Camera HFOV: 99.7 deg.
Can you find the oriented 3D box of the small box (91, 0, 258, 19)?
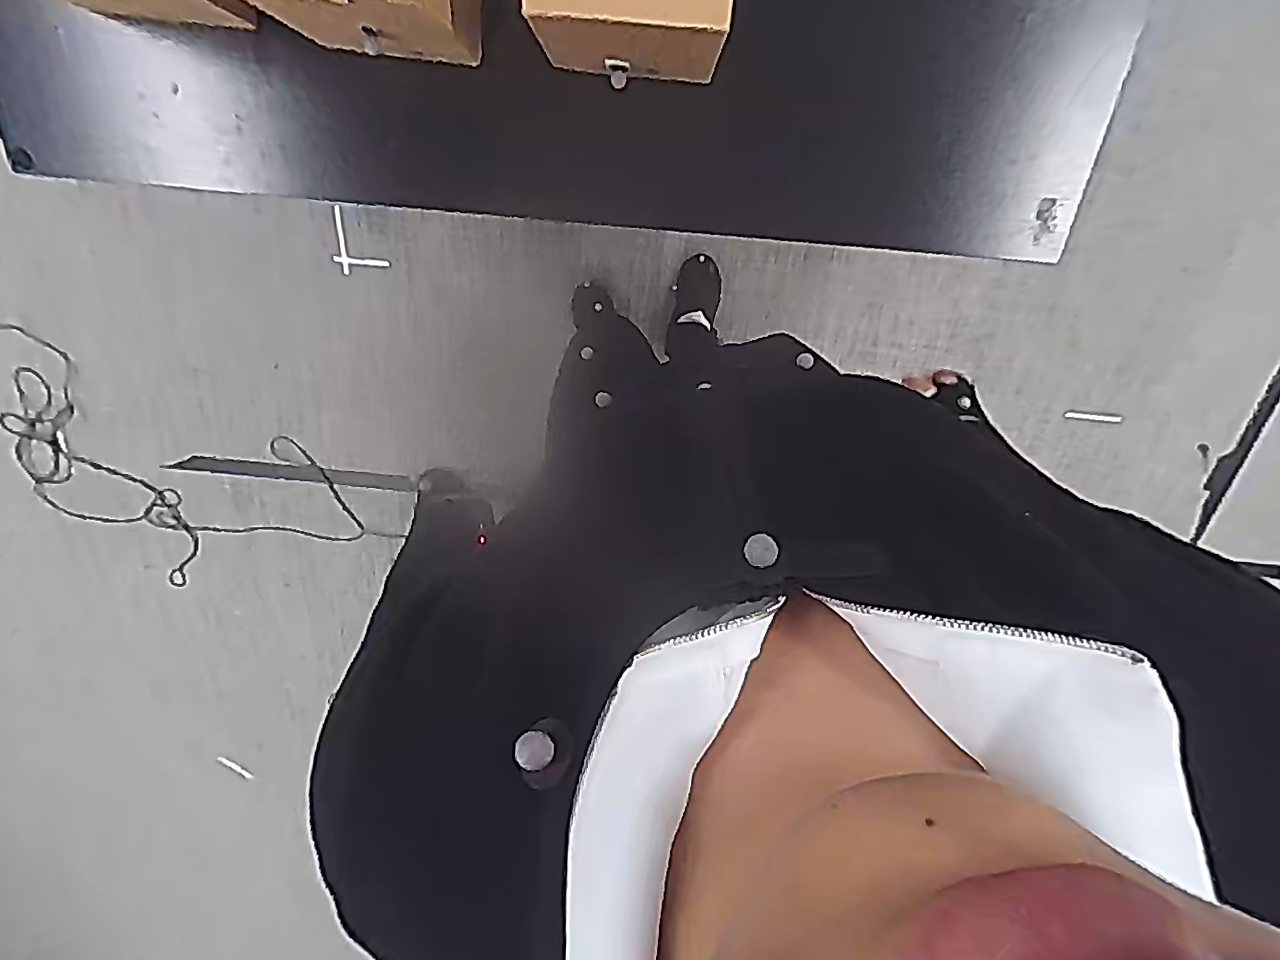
[{"bbox_3d":[-0.469,-0.518,0.447,0.179,0.176,0.168,4,115,-2],"label":"small box"}]

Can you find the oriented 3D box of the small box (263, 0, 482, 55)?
[{"bbox_3d":[-0.238,-0.492,0.458,0.168,0.176,0.179,6,115,-2],"label":"small box"}]

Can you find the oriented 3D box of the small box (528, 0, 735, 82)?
[{"bbox_3d":[-0.001,-0.475,0.466,0.168,0.176,0.179,4,115,0],"label":"small box"}]
